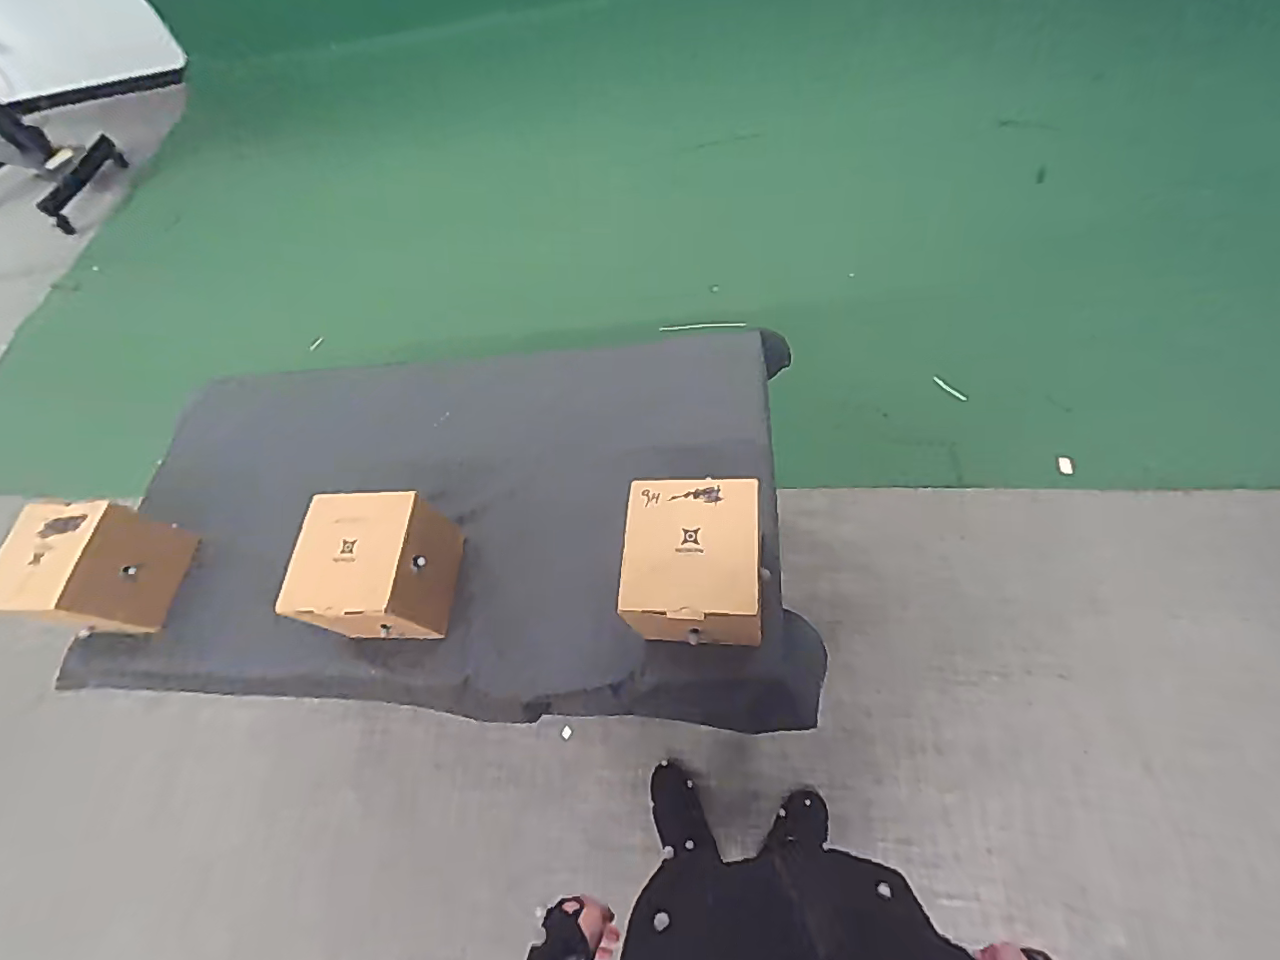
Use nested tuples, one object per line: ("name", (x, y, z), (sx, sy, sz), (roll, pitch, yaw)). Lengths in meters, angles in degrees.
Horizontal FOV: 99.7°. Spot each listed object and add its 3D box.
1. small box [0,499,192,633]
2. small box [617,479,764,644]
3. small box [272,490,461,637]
("small box", (-0.902, 0.144, 0.893), (0.168, 0.176, 0.179), (-2, 63, 10))
("small box", (0.077, 0.112, 0.714), (0.168, 0.176, 0.179), (0, 63, 14))
("small box", (-0.387, 0.131, 0.804), (0.168, 0.176, 0.179), (-2, 61, 9))
